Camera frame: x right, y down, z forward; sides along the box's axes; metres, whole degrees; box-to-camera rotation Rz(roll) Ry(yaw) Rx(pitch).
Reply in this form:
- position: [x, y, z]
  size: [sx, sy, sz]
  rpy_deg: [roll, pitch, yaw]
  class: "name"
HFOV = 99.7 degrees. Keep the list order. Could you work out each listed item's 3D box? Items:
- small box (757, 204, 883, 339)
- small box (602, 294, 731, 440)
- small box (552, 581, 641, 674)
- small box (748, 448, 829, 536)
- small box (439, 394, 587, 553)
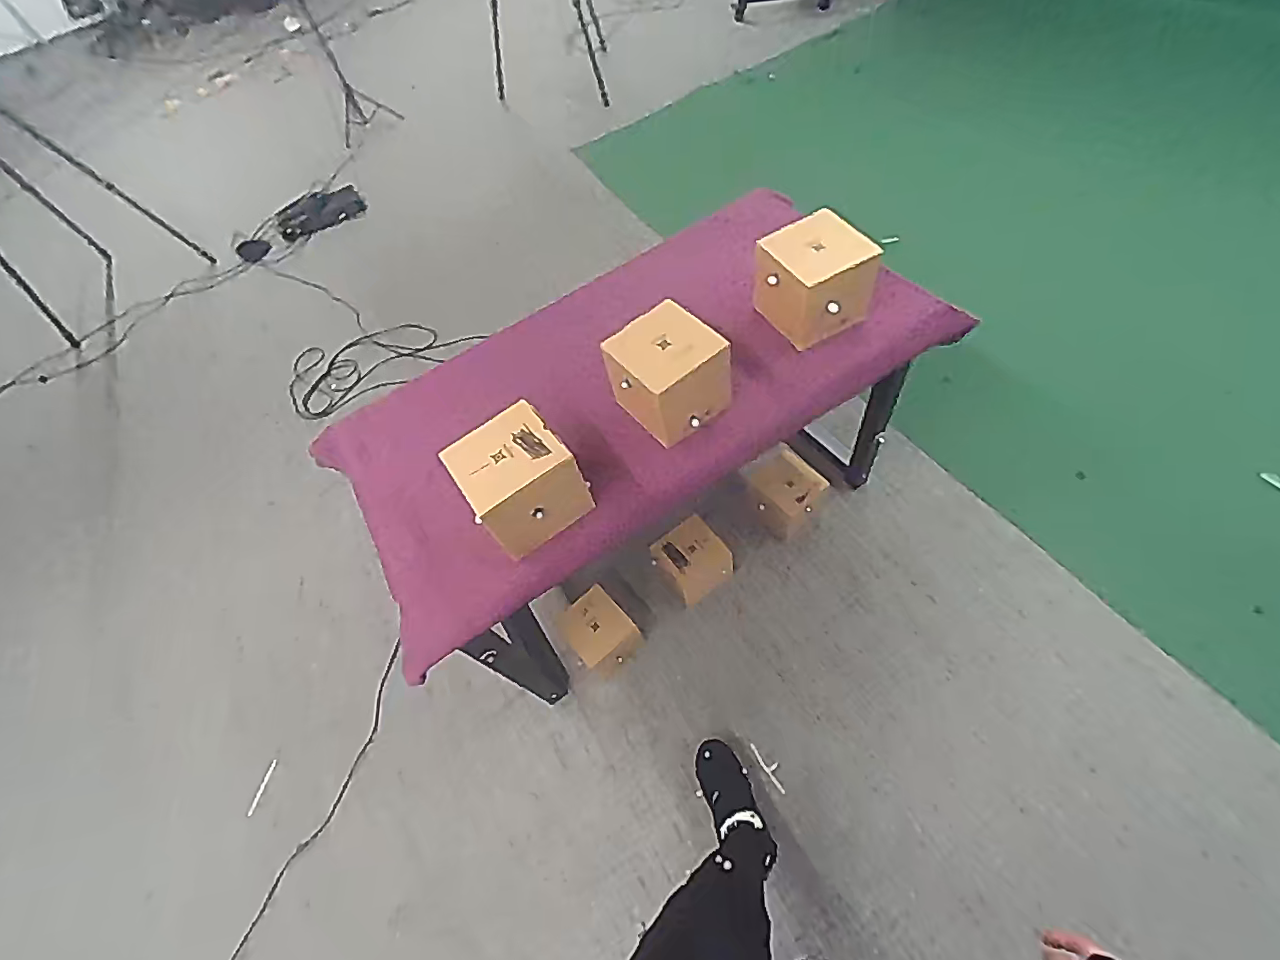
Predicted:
- position: [0.351, -0.409, 1.088]
  size: [0.168, 0.176, 0.179]
  rpy_deg: [-27, 57, -6]
  class: "small box"
- position: [0.054, -0.207, 1.016]
  size: [0.168, 0.176, 0.179]
  rpy_deg: [-36, 59, -12]
  class: "small box"
- position: [-0.115, 0.422, 1.518]
  size: [0.168, 0.176, 0.179]
  rpy_deg: [-39, 60, -14]
  class: "small box"
- position: [0.446, 0.041, 1.655]
  size: [0.168, 0.176, 0.179]
  rpy_deg: [-37, 59, -14]
  class: "small box"
- position: [-0.207, -0.008, 0.935]
  size: [0.179, 0.176, 0.168]
  rpy_deg: [-35, 58, -11]
  class: "small box"
